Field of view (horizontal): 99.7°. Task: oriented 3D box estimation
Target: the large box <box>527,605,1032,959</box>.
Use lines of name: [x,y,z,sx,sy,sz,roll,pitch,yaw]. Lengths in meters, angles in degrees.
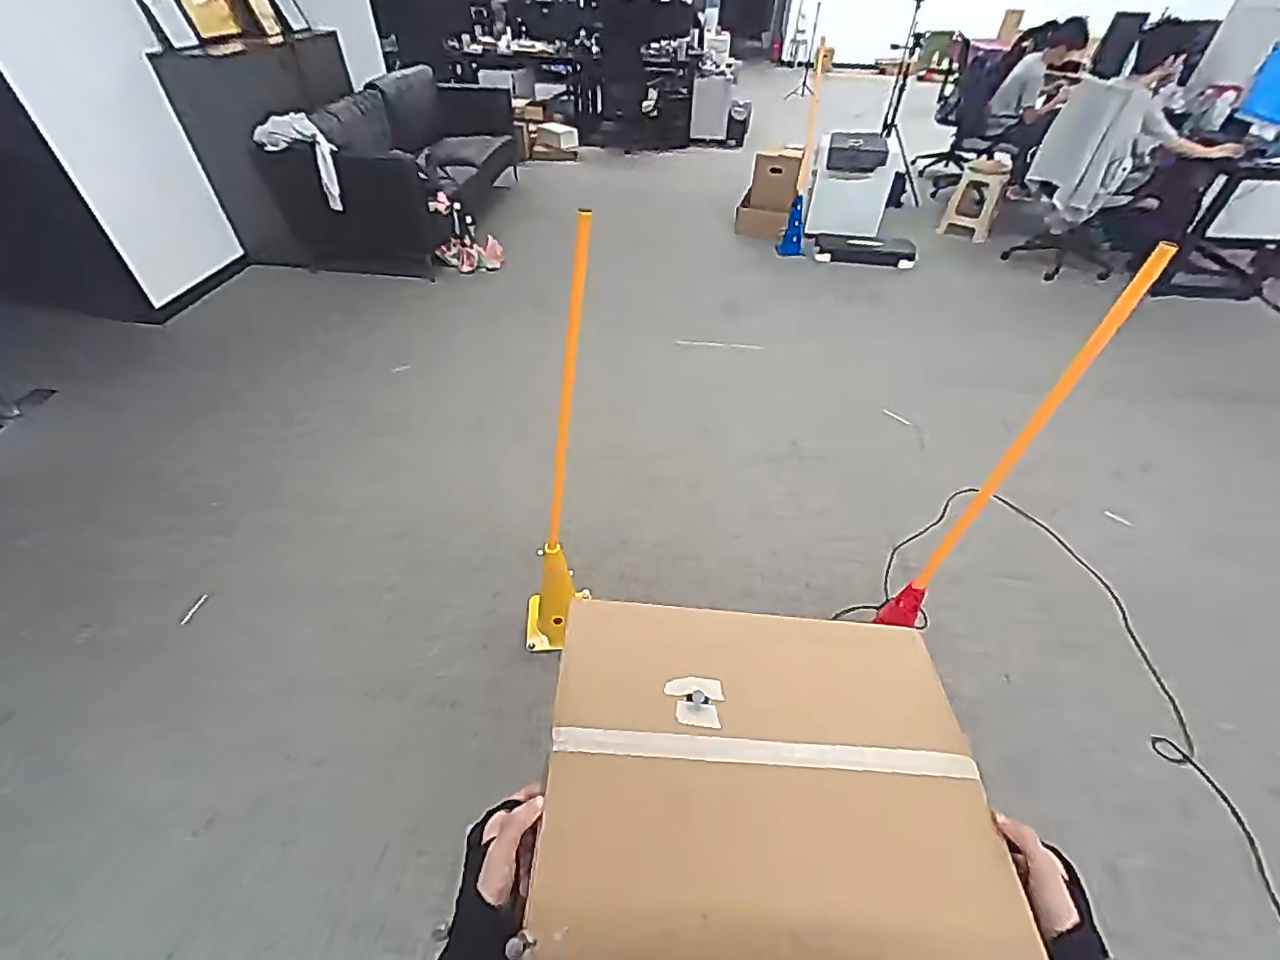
large box: [0.104,0.369,0.621,0.408,0.320,0.320,5,43,-2]
